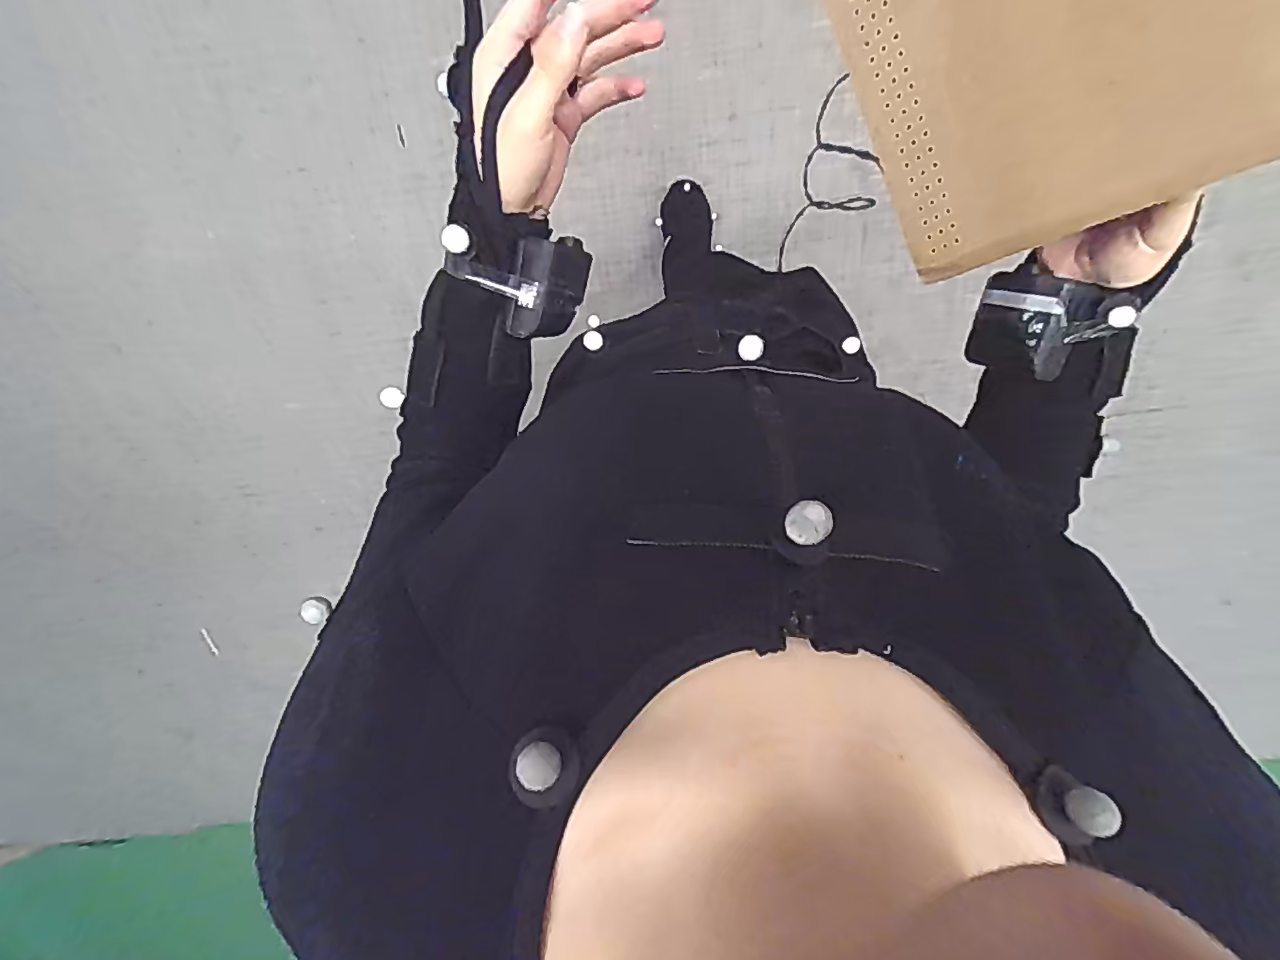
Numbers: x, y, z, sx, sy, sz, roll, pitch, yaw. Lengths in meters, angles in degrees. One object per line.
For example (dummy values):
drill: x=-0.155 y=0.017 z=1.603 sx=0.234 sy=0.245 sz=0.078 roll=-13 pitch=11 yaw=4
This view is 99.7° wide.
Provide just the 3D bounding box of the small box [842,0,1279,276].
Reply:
small box: x=0.194 y=-0.200 z=0.183 sx=0.168 sy=0.176 sz=0.179 roll=-27 pitch=100 yaw=-8
